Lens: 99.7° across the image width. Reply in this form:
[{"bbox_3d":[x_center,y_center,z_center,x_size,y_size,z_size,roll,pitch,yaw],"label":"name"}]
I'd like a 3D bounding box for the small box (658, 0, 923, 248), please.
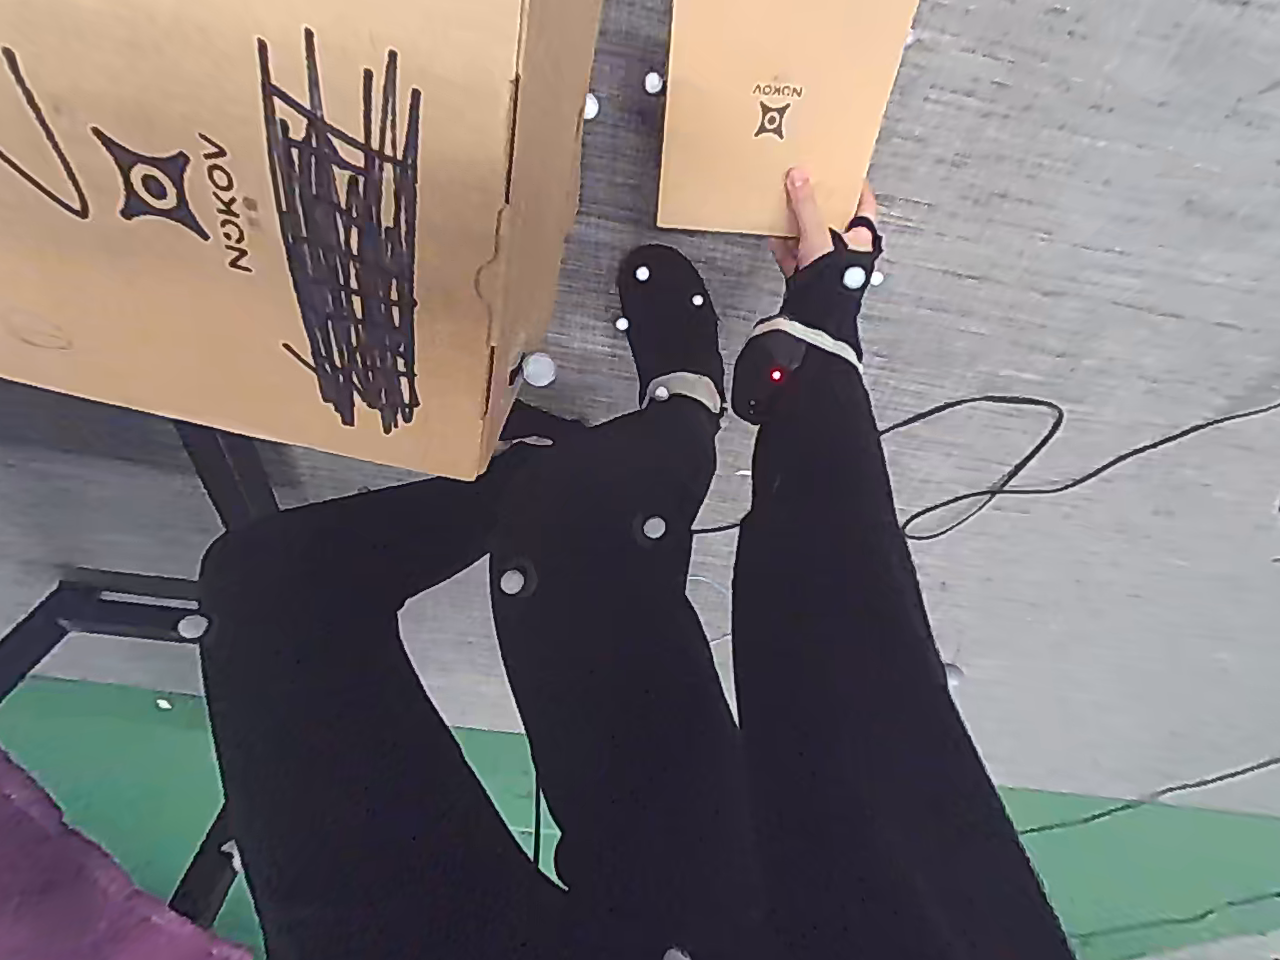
[{"bbox_3d":[0.108,-0.324,0.469,0.168,0.176,0.179,5,131,1],"label":"small box"}]
